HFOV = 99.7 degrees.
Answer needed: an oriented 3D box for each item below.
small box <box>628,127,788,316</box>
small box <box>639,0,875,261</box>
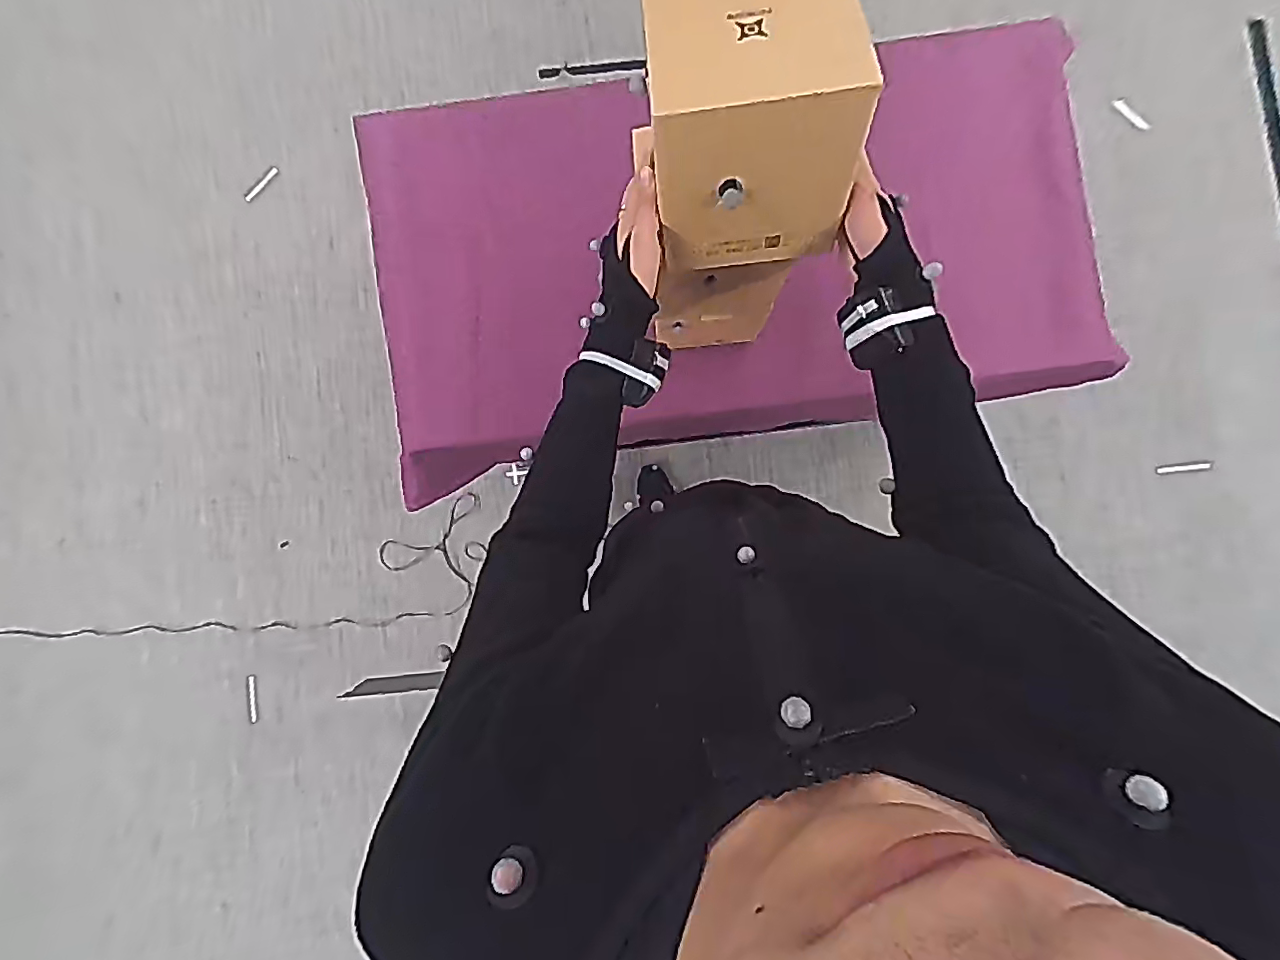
[{"bbox_3d":[0.081,-0.318,0.682,0.179,0.176,0.168,-5,87,1],"label":"small box"},{"bbox_3d":[0.092,-0.321,0.491,0.168,0.176,0.179,-5,68,5],"label":"small box"}]
